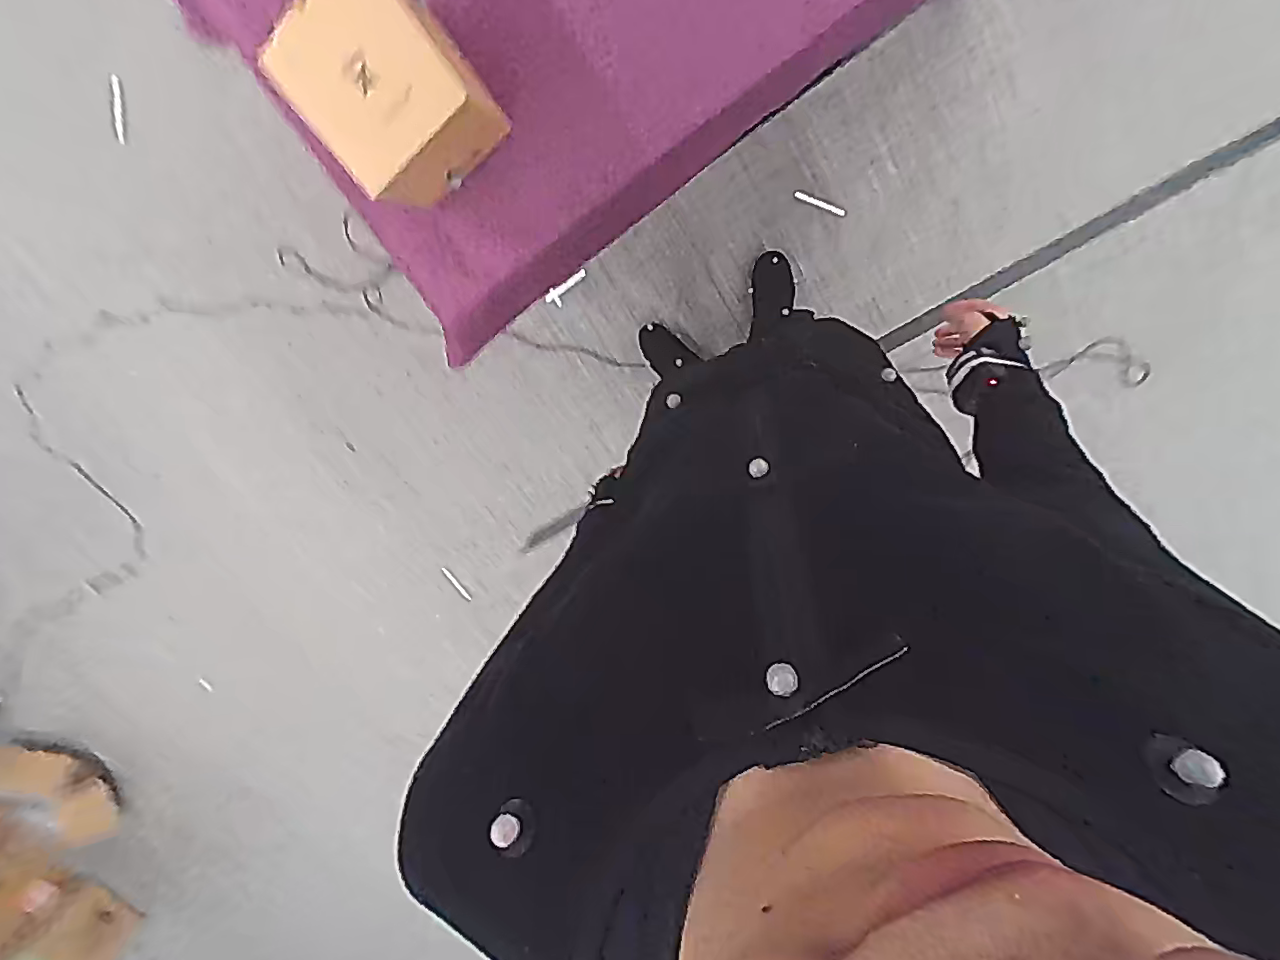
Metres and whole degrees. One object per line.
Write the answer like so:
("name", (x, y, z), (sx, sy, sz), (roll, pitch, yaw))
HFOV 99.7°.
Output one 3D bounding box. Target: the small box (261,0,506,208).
("small box", (-0.299, -0.468, 0.671), (0.168, 0.176, 0.179), (-35, 105, 17))
